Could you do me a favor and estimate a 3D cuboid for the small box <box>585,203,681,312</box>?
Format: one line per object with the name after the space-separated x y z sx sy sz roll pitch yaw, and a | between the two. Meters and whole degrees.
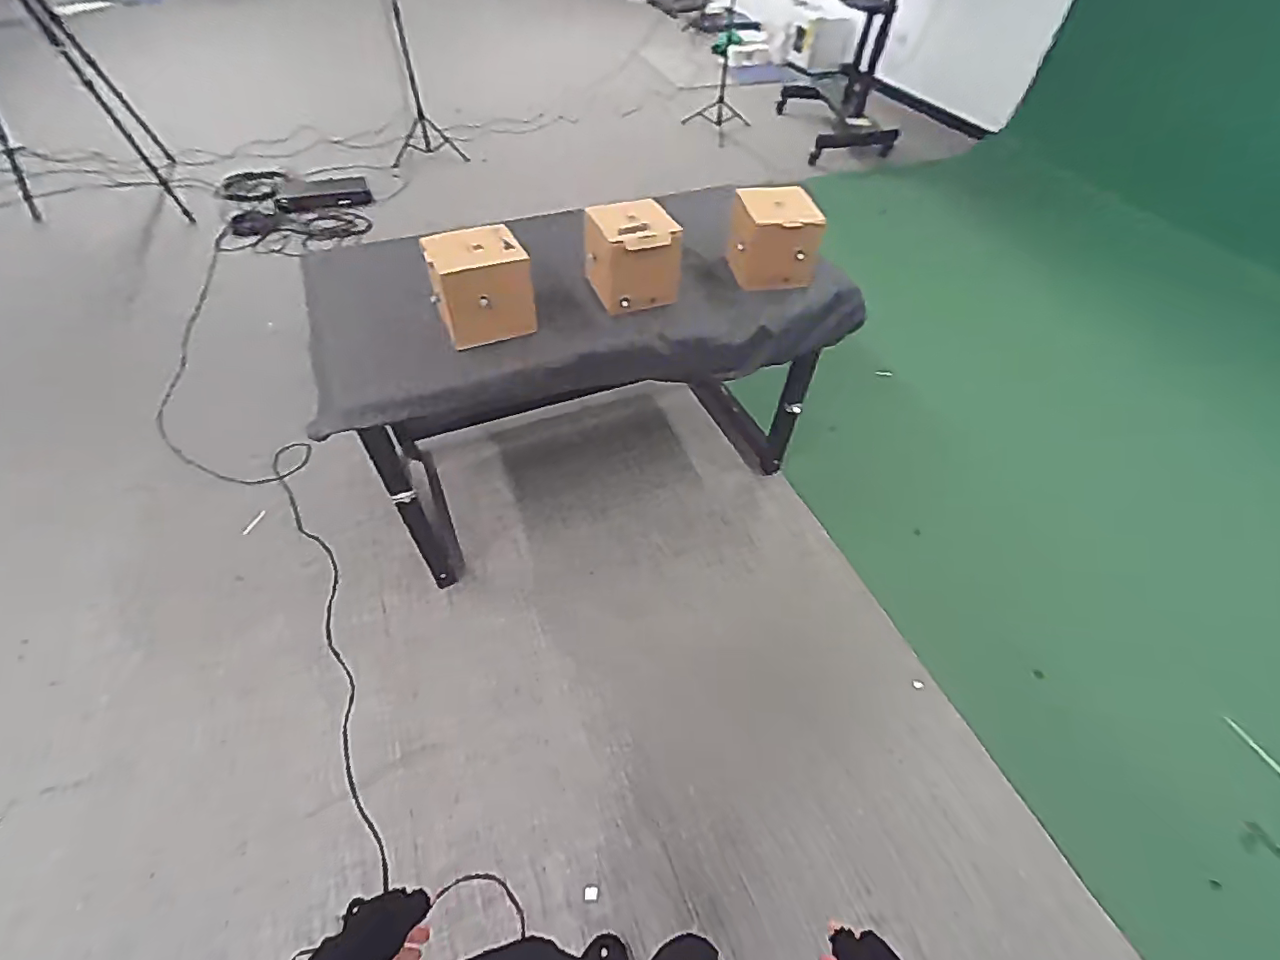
-0.018 -0.497 1.224 0.168 0.176 0.179 -16 52 -15 | small box

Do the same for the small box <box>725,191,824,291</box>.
0.314 -0.568 1.298 0.168 0.176 0.179 -6 50 -8 | small box

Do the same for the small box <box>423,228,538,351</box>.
-0.325 -0.392 1.122 0.179 0.176 0.168 -20 53 -18 | small box
